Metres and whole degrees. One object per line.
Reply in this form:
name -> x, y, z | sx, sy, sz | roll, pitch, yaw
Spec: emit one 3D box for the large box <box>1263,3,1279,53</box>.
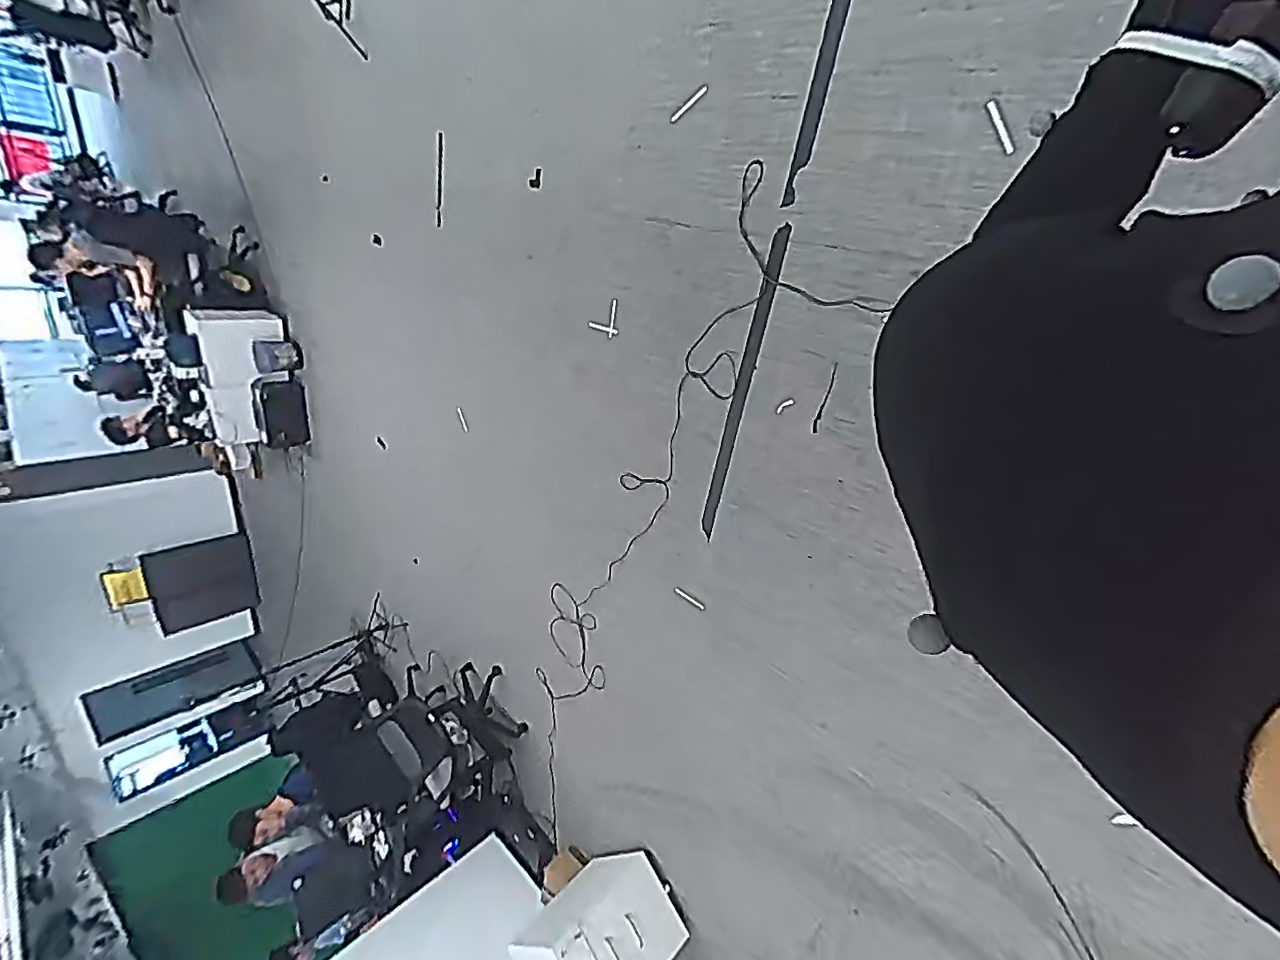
large box -> 0.649, -0.363, 0.232 | 0.408, 0.320, 0.320 | 37, 136, 26
